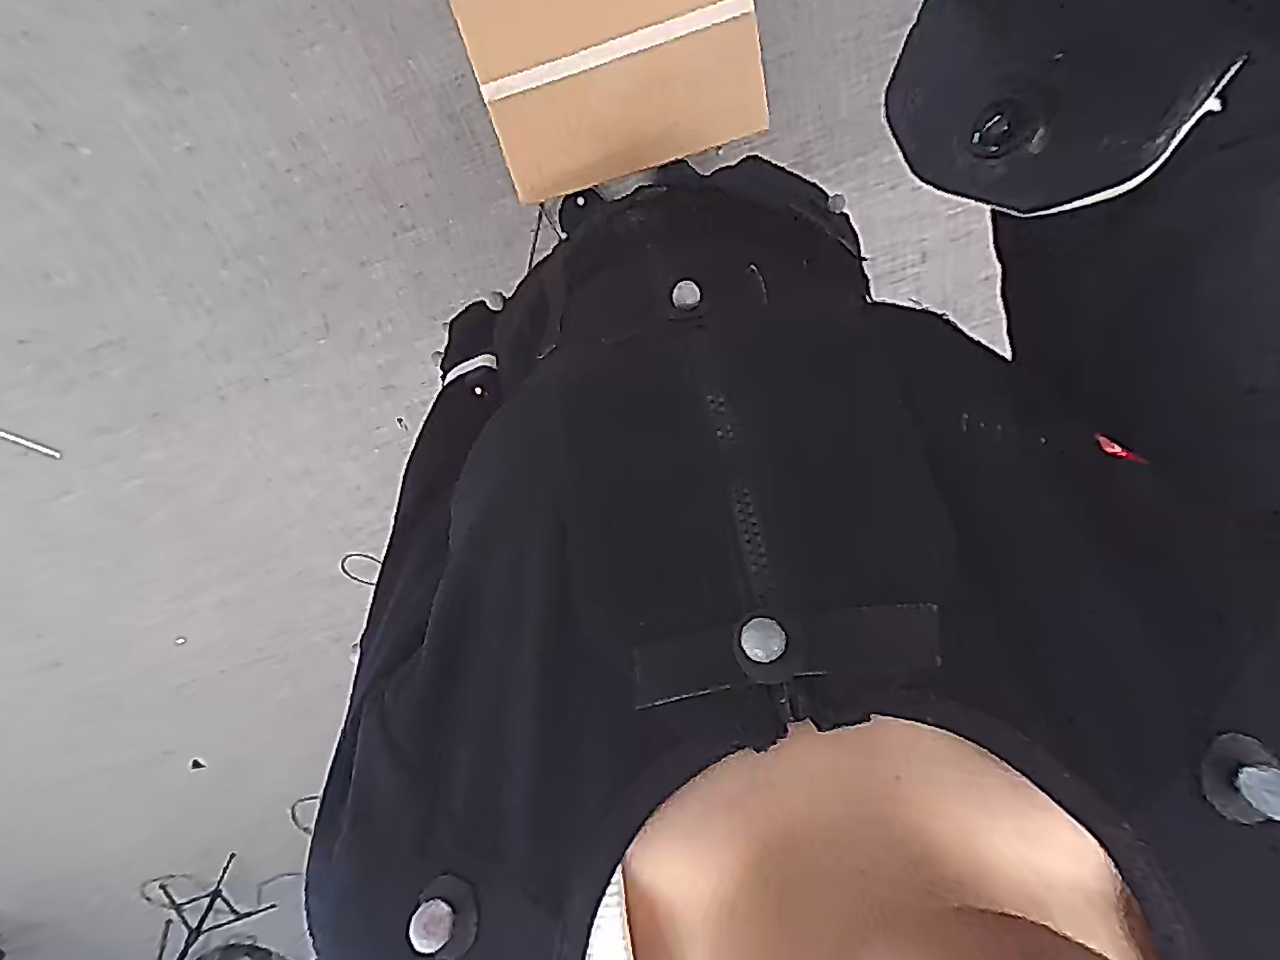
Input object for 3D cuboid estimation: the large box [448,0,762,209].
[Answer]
[{"bbox_3d":[-0.047,-0.691,0.904,0.408,0.320,0.320,-15,120,5],"label":"large box"}]
